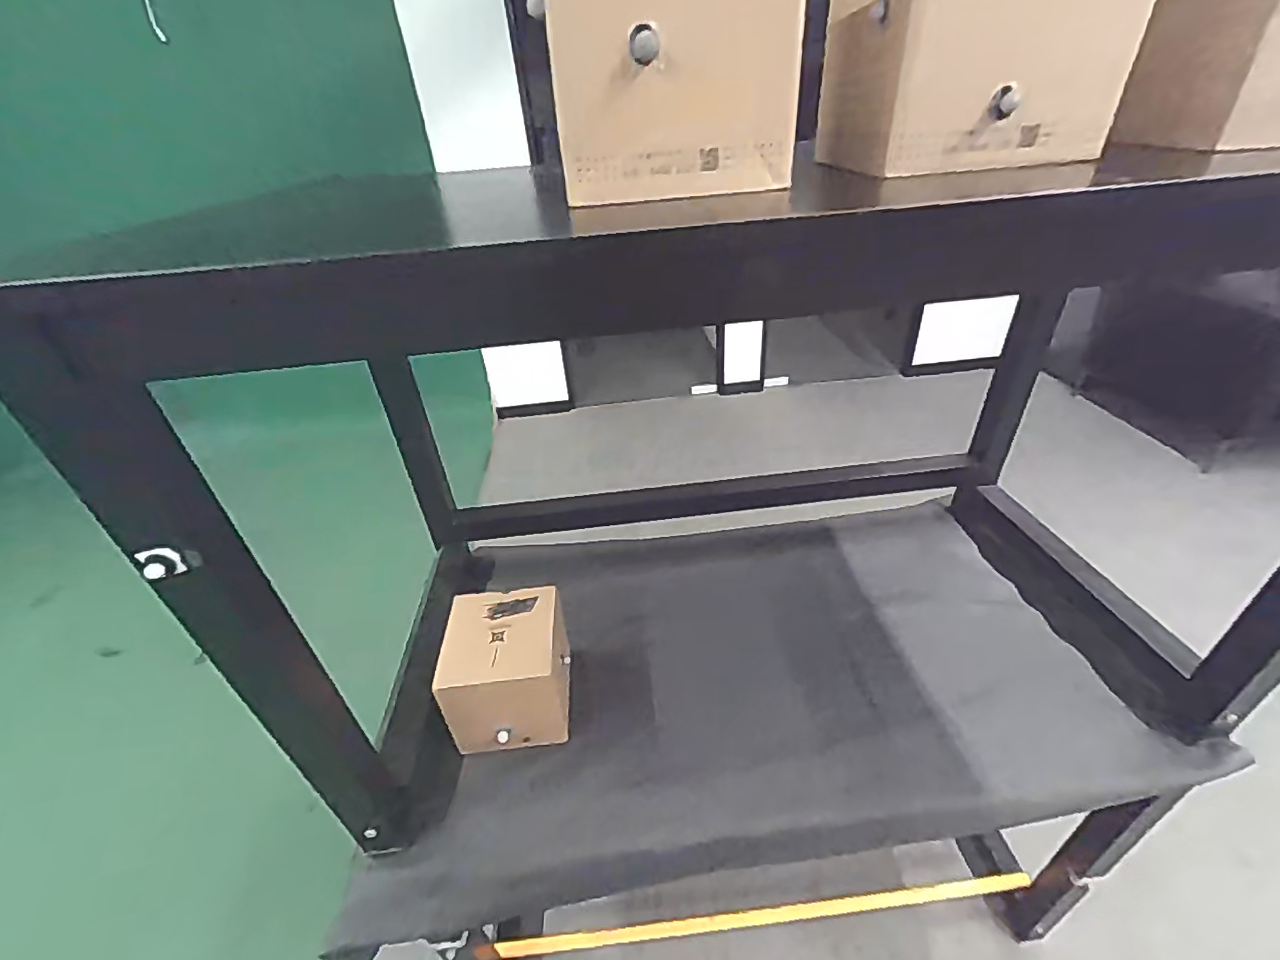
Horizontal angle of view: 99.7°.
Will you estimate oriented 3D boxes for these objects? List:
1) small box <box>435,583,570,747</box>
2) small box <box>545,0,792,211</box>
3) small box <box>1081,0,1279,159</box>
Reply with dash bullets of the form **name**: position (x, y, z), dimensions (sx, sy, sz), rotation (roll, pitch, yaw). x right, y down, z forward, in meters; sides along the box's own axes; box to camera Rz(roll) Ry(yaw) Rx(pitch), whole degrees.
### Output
- **small box**: position (-0.205, 0.290, 0.859), dimensions (0.168, 0.176, 0.179), rotation (-6, 34, -2)
- **small box**: position (0.019, -0.320, 0.436), dimensions (0.168, 0.176, 0.179), rotation (-6, 34, -2)
- **small box**: position (0.505, -0.354, 0.423), dimensions (0.168, 0.176, 0.179), rotation (1, 34, 7)
